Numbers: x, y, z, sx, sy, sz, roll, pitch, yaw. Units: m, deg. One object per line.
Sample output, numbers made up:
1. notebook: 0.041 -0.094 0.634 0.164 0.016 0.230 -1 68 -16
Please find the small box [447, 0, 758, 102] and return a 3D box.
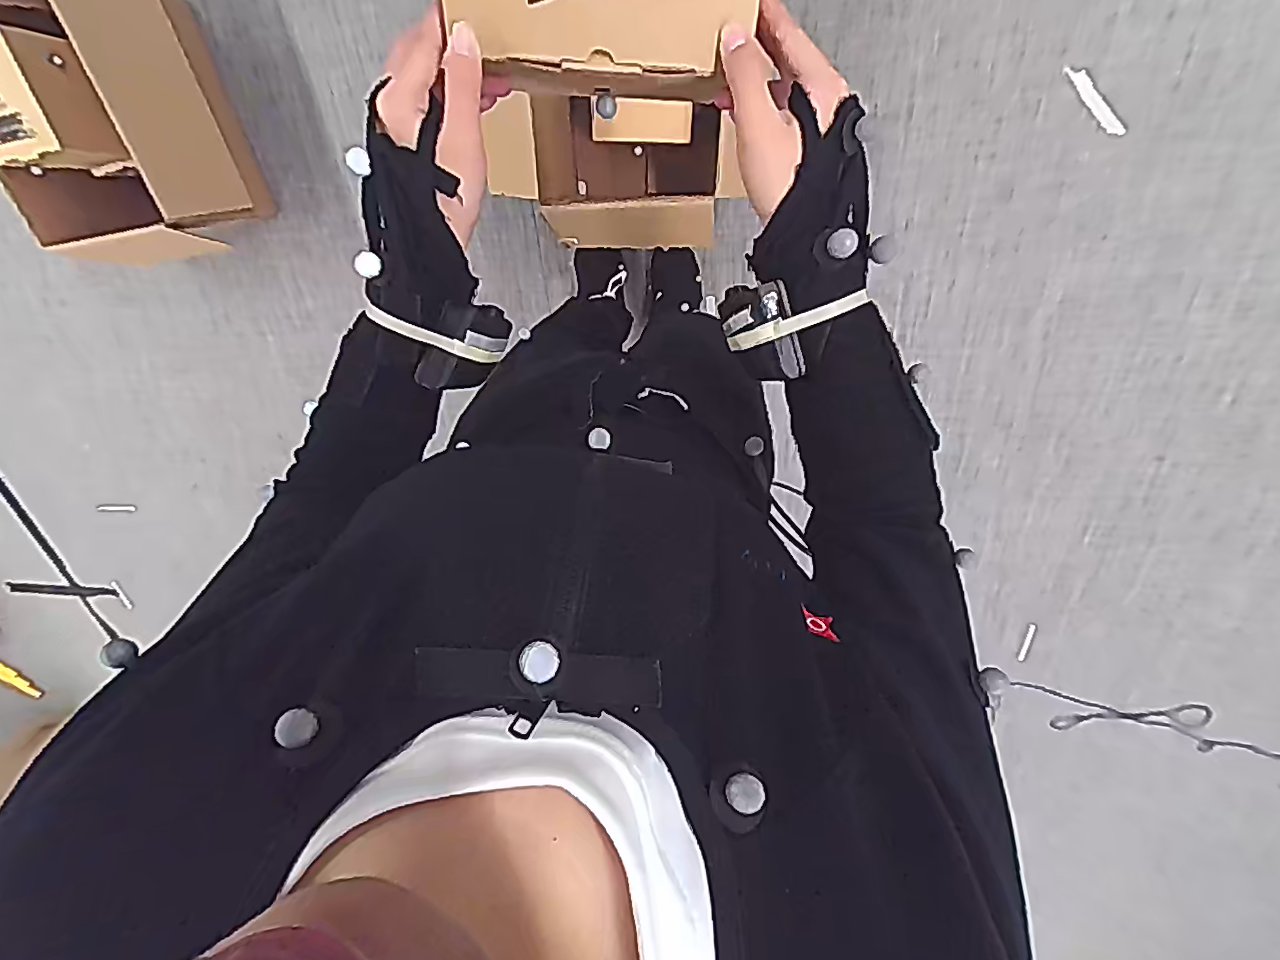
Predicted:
1. small box: -0.018 -0.345 0.322 0.168 0.176 0.179 2 120 -3
